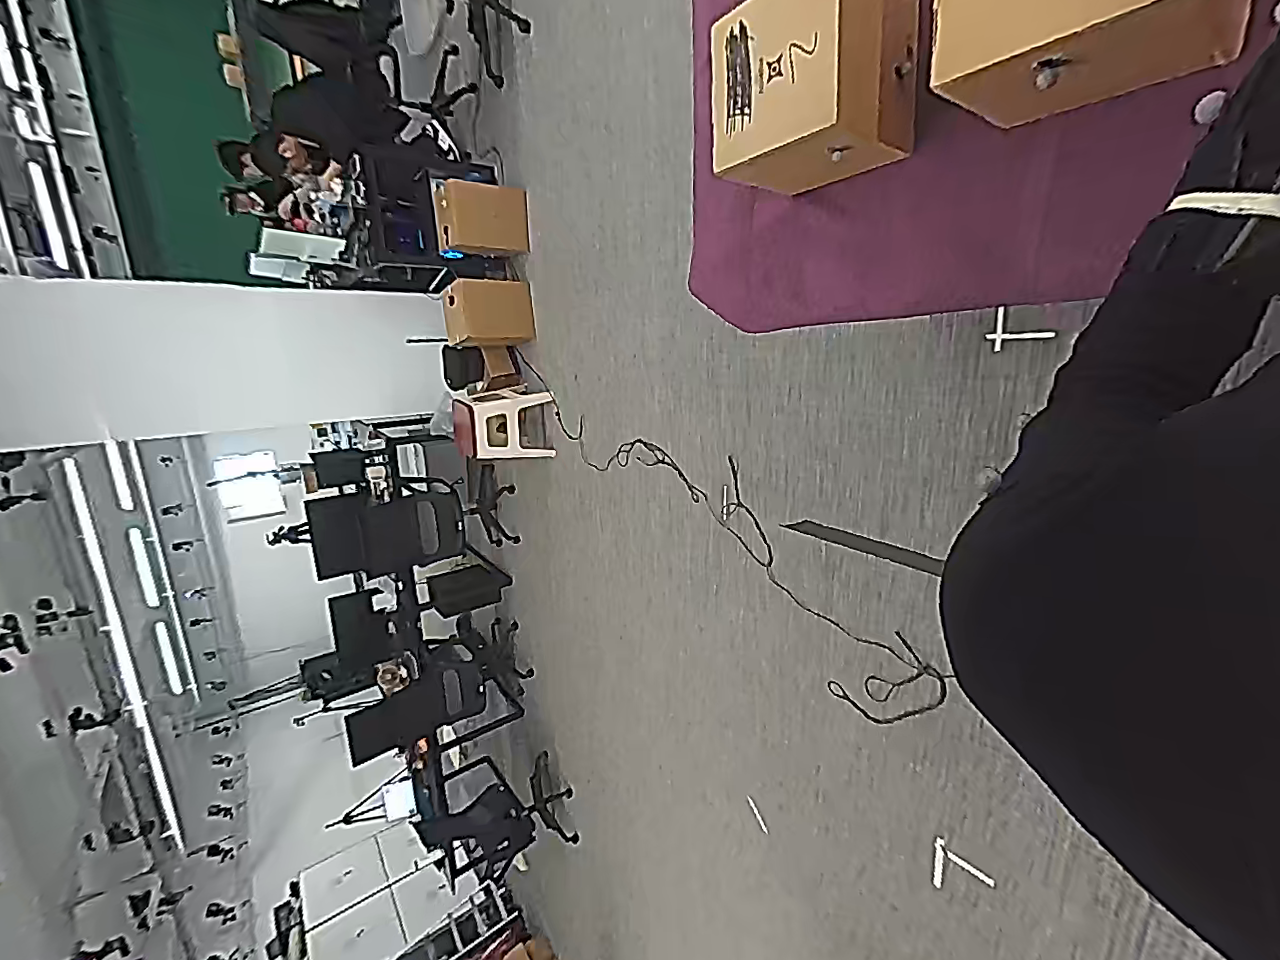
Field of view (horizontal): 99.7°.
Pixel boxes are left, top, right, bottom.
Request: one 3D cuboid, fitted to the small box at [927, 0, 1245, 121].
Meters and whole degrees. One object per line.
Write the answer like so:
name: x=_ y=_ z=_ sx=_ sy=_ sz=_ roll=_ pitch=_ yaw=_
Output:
small box: x=0.368 y=-0.424 z=0.439 sx=0.179 sy=0.176 sz=0.168 roll=17 pitch=113 yaw=52
